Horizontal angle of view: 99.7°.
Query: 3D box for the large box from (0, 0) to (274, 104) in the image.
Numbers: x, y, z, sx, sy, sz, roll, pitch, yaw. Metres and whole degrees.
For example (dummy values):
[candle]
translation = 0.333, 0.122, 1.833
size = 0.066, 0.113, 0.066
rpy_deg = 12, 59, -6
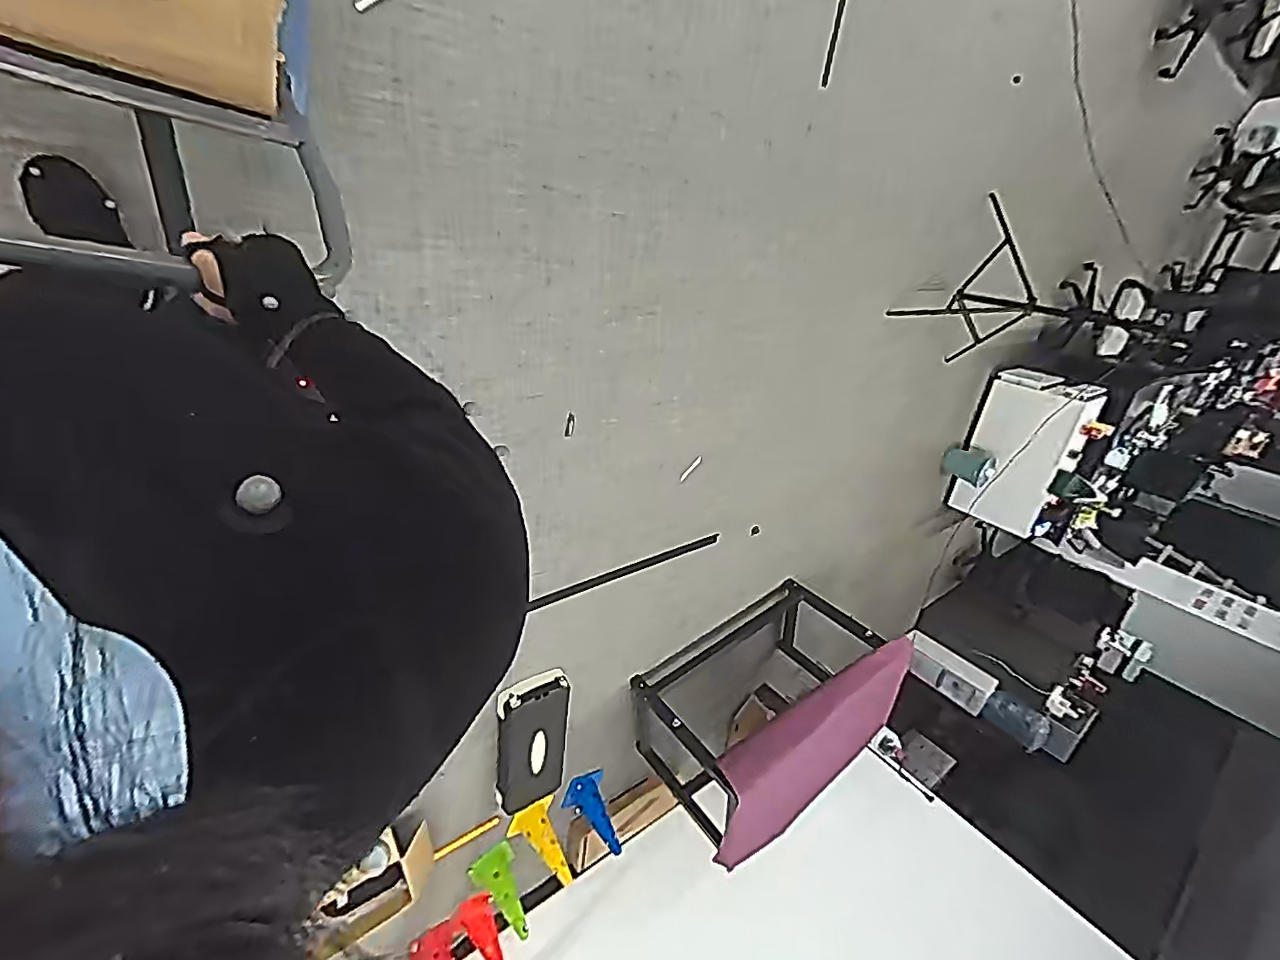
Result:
[large box]
translation = -0.696, -0.720, 0.641
size = 0.408, 0.320, 0.320
rpy_deg = -5, 134, -39
